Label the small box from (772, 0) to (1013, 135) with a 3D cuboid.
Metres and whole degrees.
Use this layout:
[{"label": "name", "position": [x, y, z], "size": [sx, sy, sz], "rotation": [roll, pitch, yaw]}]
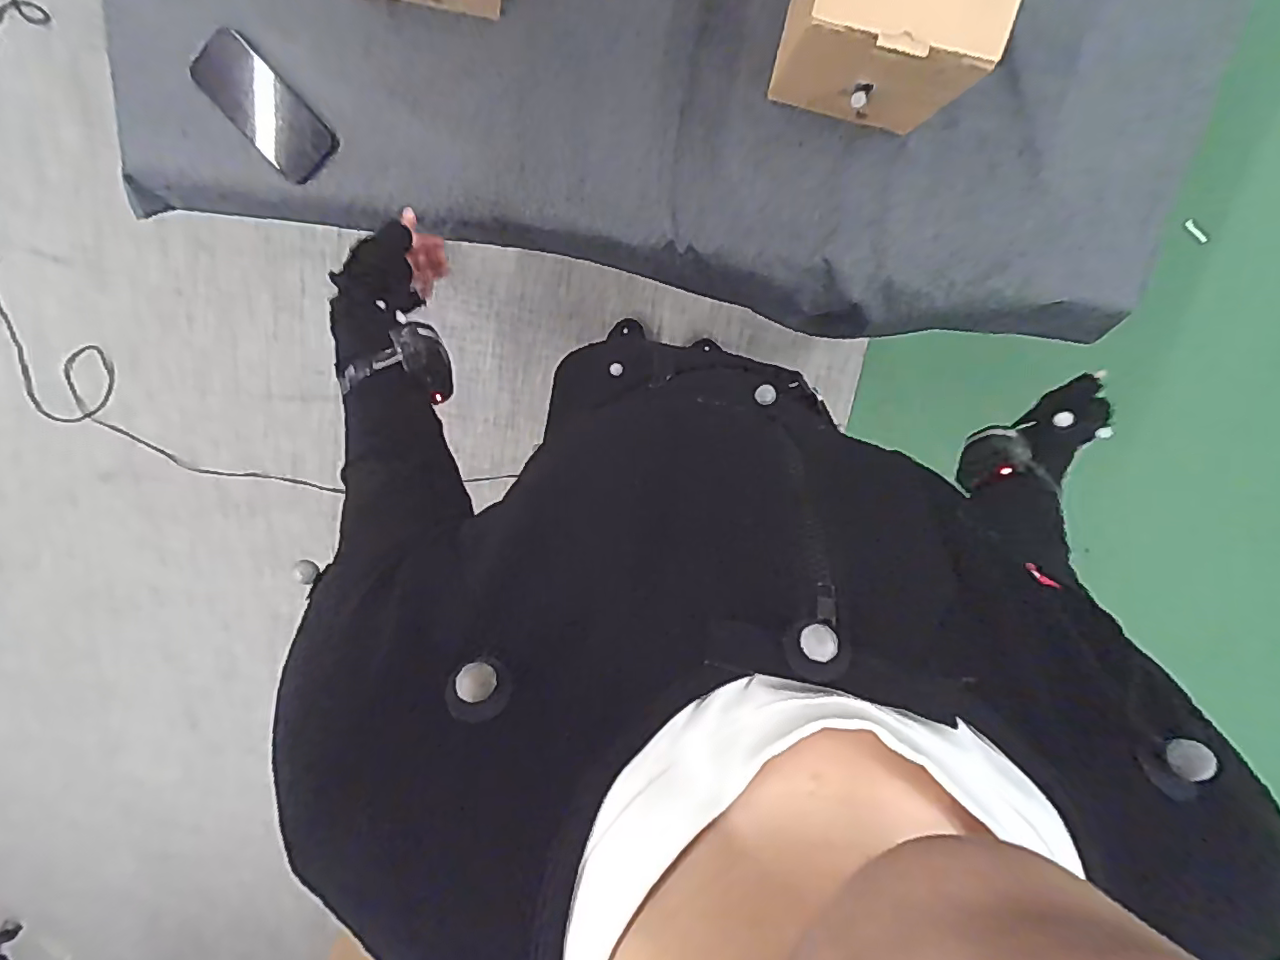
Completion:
[{"label": "small box", "position": [0.235, -0.459, 0.509], "size": [0.168, 0.176, 0.179], "rotation": [12, 106, -2]}]
